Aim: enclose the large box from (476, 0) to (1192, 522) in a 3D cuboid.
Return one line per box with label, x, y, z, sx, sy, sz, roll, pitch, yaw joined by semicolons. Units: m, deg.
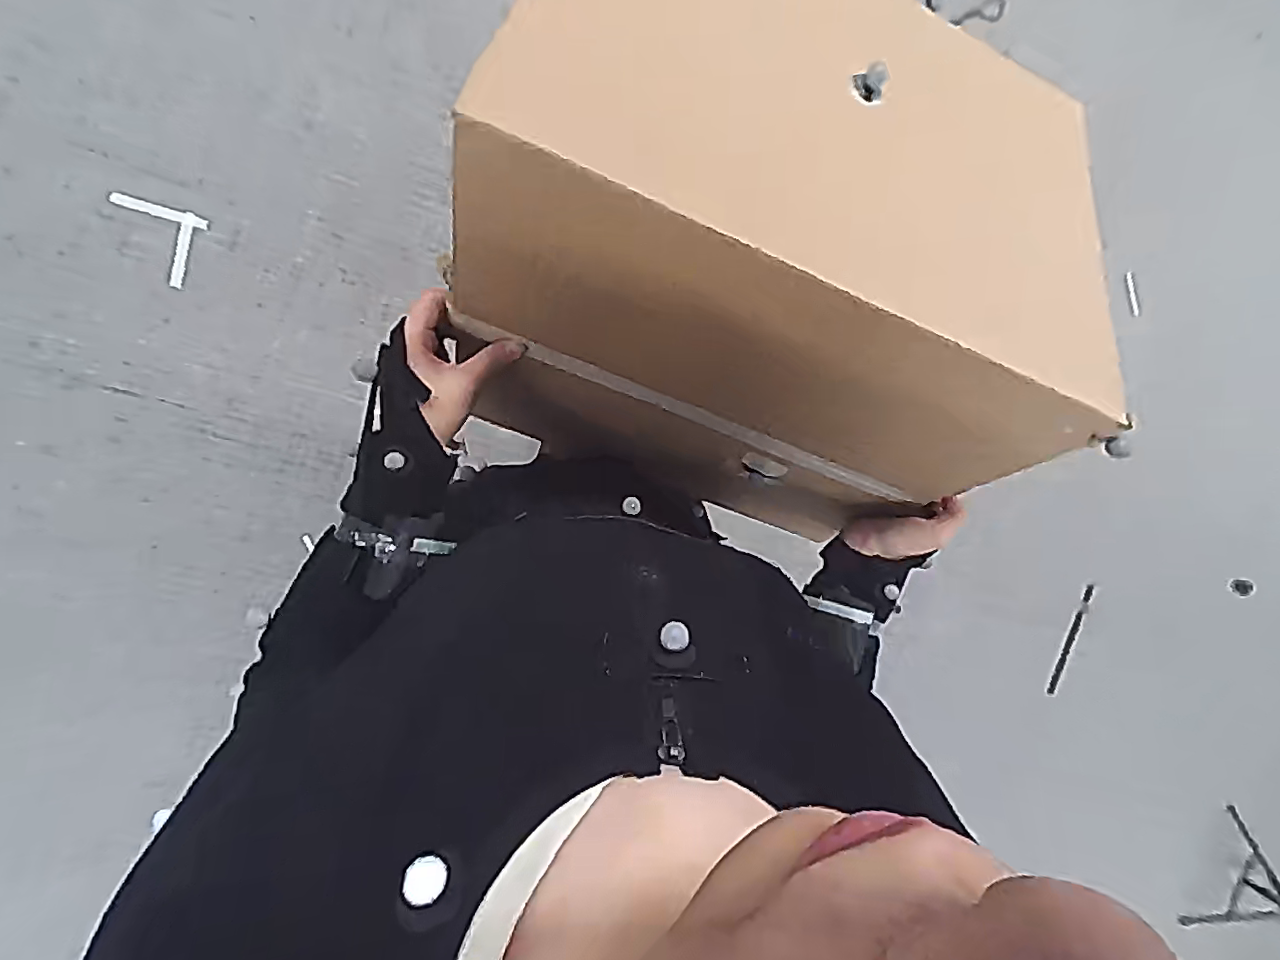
large box;0.109;-0.201;0.452;0.408;0.320;0.320;19;68;-11
